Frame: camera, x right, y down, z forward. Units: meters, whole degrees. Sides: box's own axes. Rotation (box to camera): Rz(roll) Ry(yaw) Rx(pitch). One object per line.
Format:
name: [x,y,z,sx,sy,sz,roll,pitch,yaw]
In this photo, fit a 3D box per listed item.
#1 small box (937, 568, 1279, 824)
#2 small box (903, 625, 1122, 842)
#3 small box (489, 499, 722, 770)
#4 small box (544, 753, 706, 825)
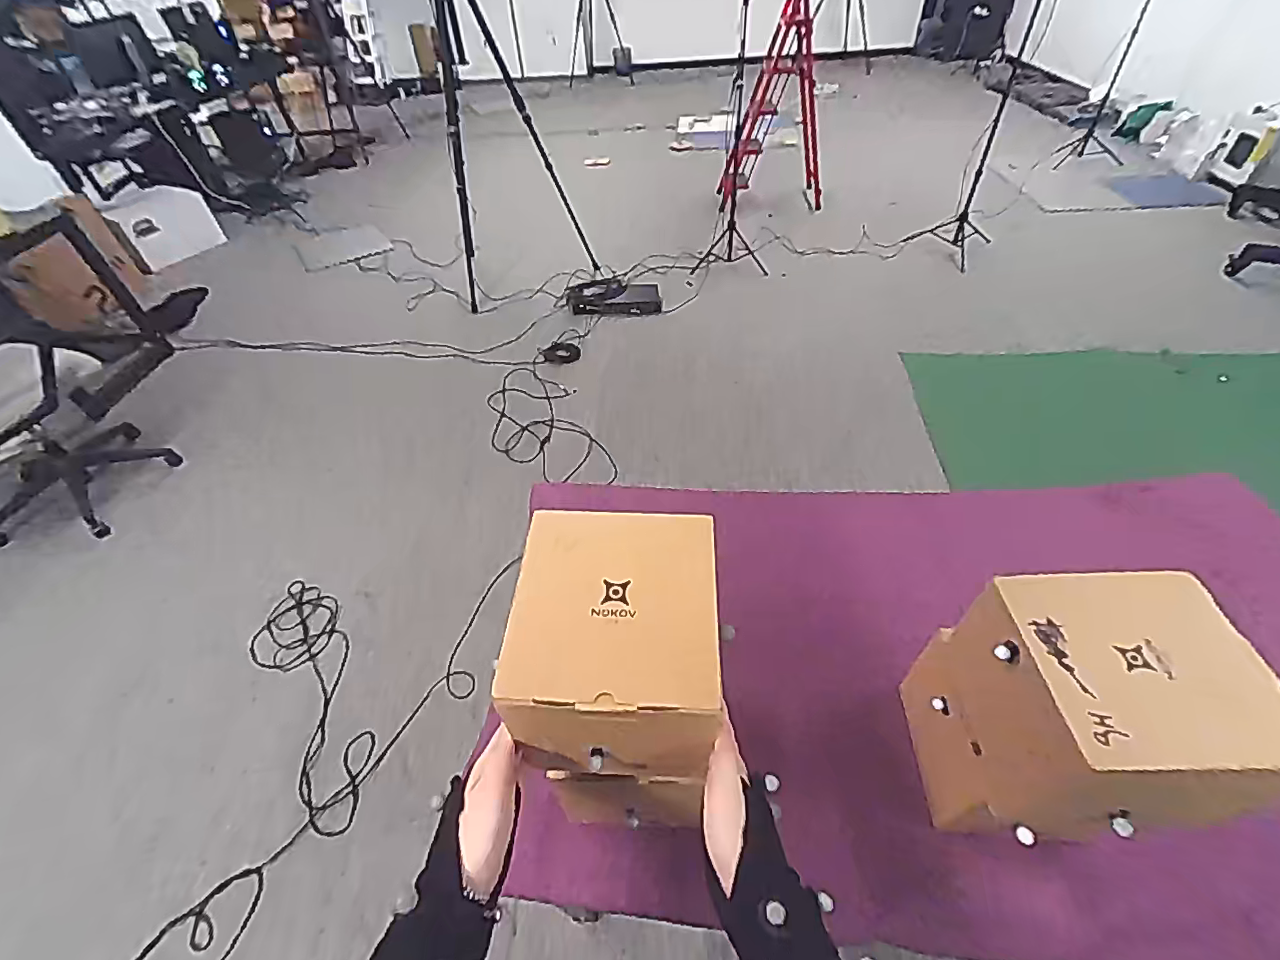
small box: [0.407,0.195,0.487,0.179,0.176,0.168,-1,46,3]
small box: [0.426,0.290,0.621,0.168,0.176,0.179,1,46,5]
small box: [-0.020,0.139,0.485,0.168,0.176,0.179,2,49,2]
small box: [-0.008,0.290,0.651,0.168,0.176,0.179,-1,45,4]
